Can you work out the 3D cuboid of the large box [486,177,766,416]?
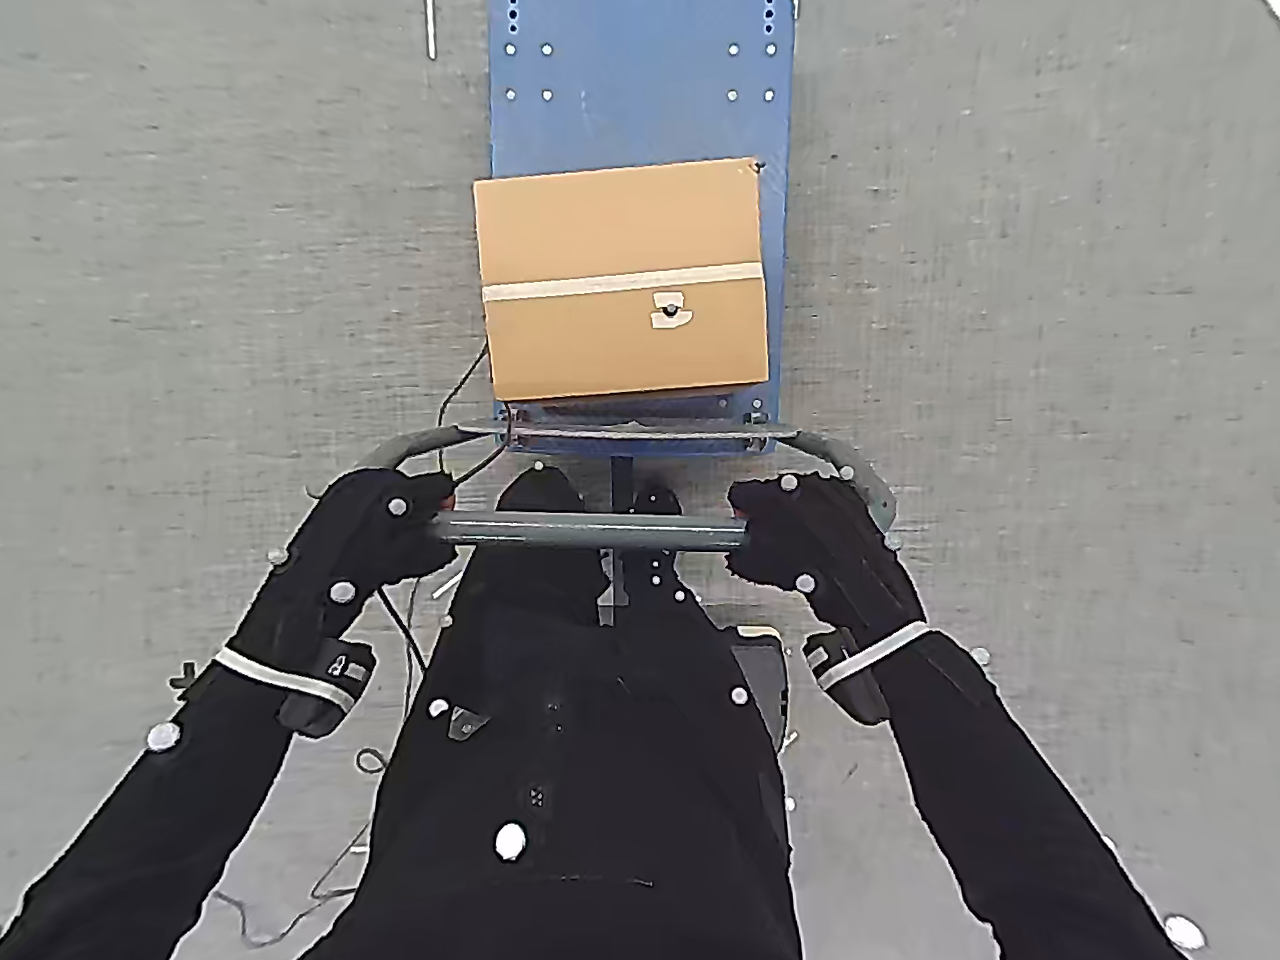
[{"bbox_3d":[-0.018,-0.286,0.950,0.408,0.320,0.320,-4,96,1],"label":"large box"}]
